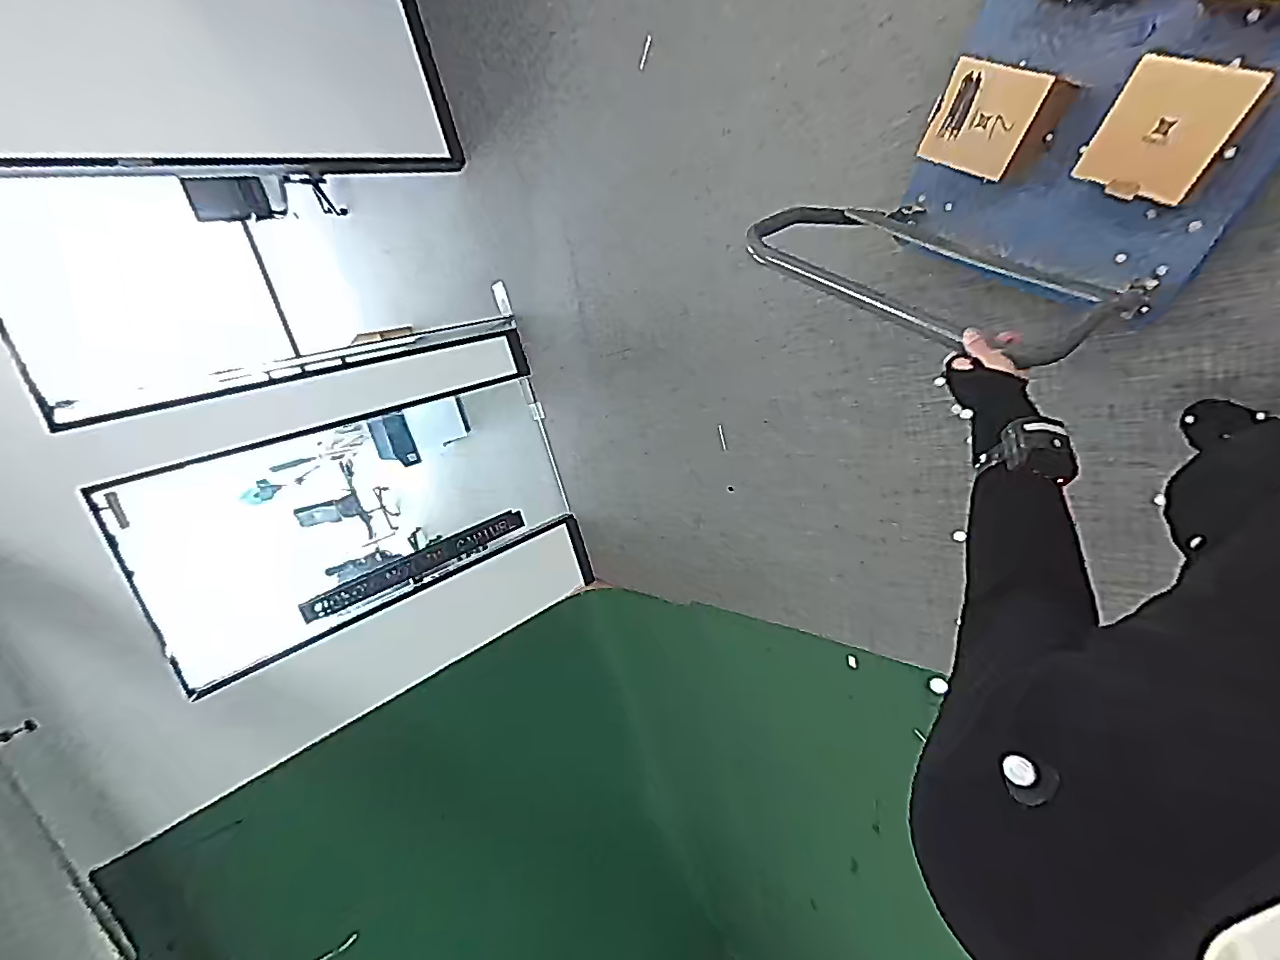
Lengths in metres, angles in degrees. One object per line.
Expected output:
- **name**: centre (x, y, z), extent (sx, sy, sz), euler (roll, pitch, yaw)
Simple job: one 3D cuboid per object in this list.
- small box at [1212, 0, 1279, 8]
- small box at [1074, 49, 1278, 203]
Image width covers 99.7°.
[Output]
- **small box**: centre (0.914, -0.766, 0.730), extent (0.168, 0.176, 0.179), euler (39, 138, 33)
- **small box**: centre (0.877, -0.580, 0.892), extent (0.168, 0.176, 0.179), euler (41, 139, 30)
